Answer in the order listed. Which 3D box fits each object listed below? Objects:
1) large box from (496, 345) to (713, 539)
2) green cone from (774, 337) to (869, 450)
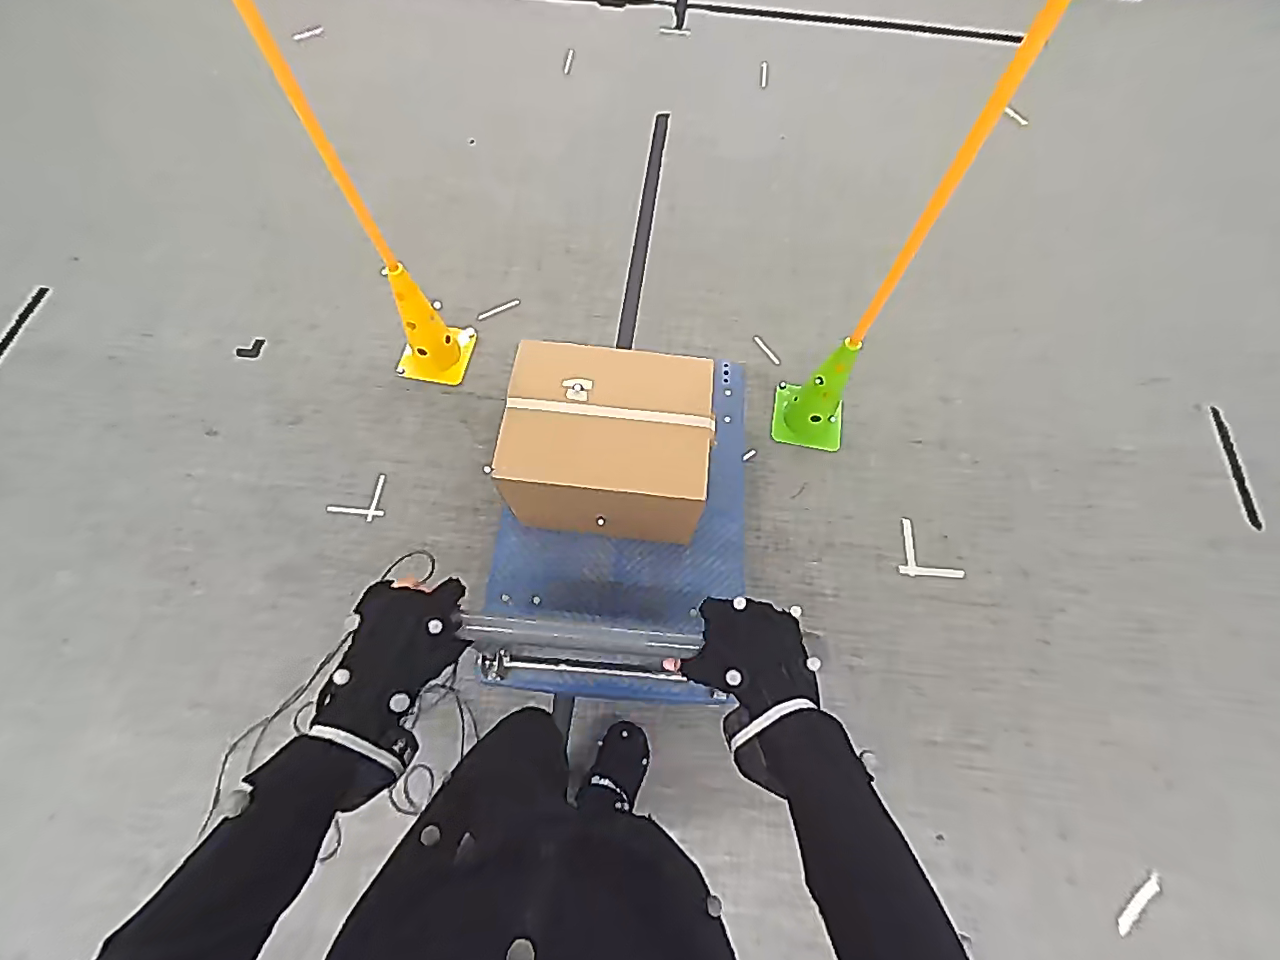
[{"bbox_3d":[-0.059,-0.069,1.202,0.408,0.320,0.320,6,68,2],"label":"large box"},{"bbox_3d":[0.511,-0.255,1.449,0.202,0.368,0.200,11,68,2],"label":"green cone"}]
